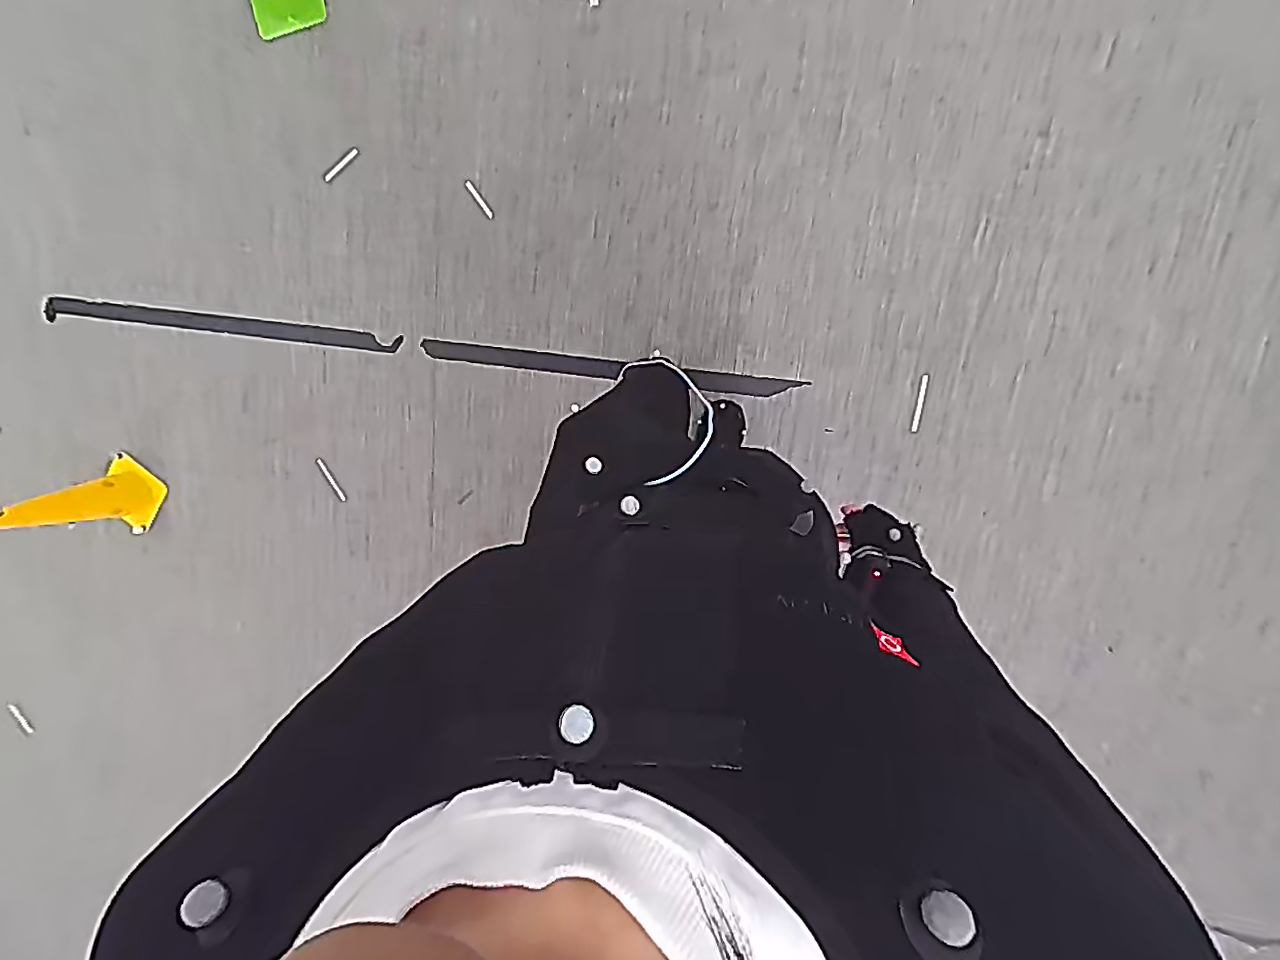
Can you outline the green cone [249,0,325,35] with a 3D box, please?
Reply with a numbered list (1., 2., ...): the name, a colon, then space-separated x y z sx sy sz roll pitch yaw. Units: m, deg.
1. green cone: -0.922 -1.211 1.190 0.202 0.368 0.200 -9 100 10
